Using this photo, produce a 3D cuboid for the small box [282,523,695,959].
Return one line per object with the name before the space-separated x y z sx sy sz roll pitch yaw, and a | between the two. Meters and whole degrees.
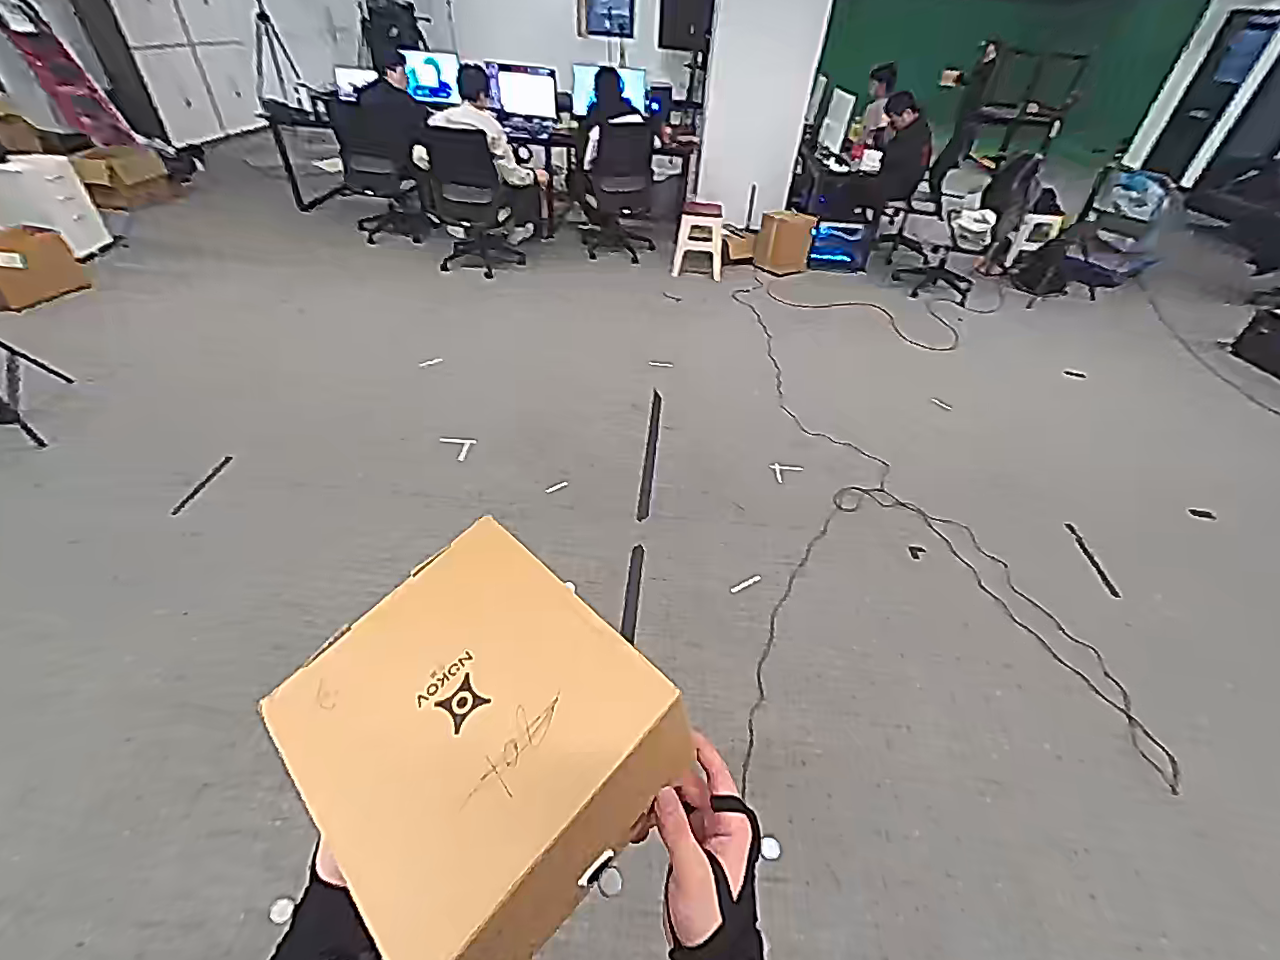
small box | -0.081 0.168 0.362 0.179 0.176 0.168 34 66 29
